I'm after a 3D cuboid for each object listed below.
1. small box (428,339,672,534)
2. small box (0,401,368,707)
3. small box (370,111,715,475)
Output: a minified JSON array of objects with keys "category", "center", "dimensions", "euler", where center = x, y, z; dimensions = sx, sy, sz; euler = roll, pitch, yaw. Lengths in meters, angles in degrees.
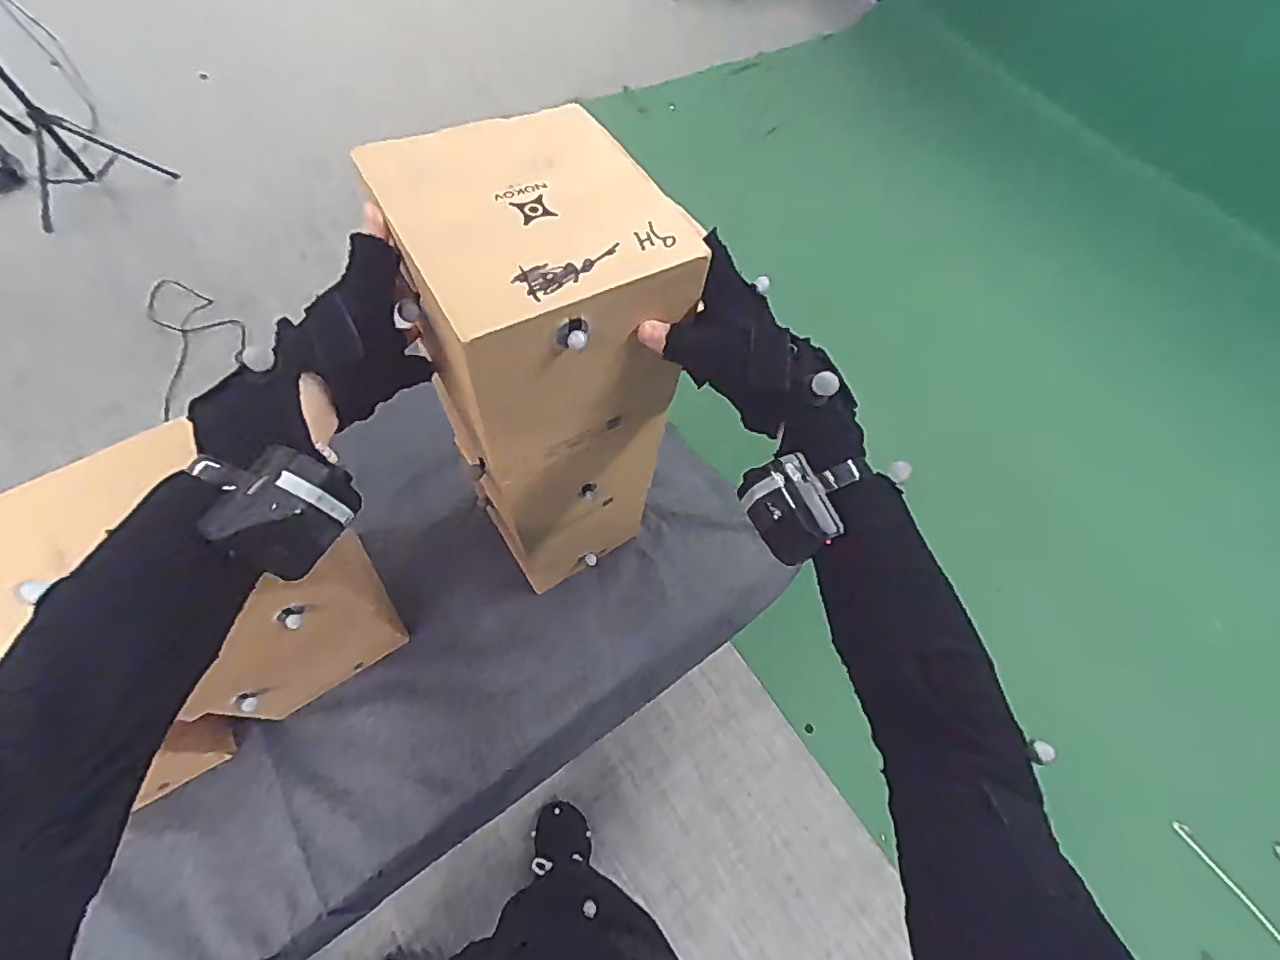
[{"category":"small box","center":[-0.088,-0.063,0.561],"dimensions":[0.168,0.176,0.179],"euler":[-28,69,-18]},{"category":"small box","center":[-0.365,0.070,0.468],"dimensions":[0.179,0.176,0.168],"euler":[-33,70,-19]},{"category":"small box","center":[-0.072,-0.136,0.413],"dimensions":[0.168,0.176,0.179],"euler":[-27,67,-18]}]
